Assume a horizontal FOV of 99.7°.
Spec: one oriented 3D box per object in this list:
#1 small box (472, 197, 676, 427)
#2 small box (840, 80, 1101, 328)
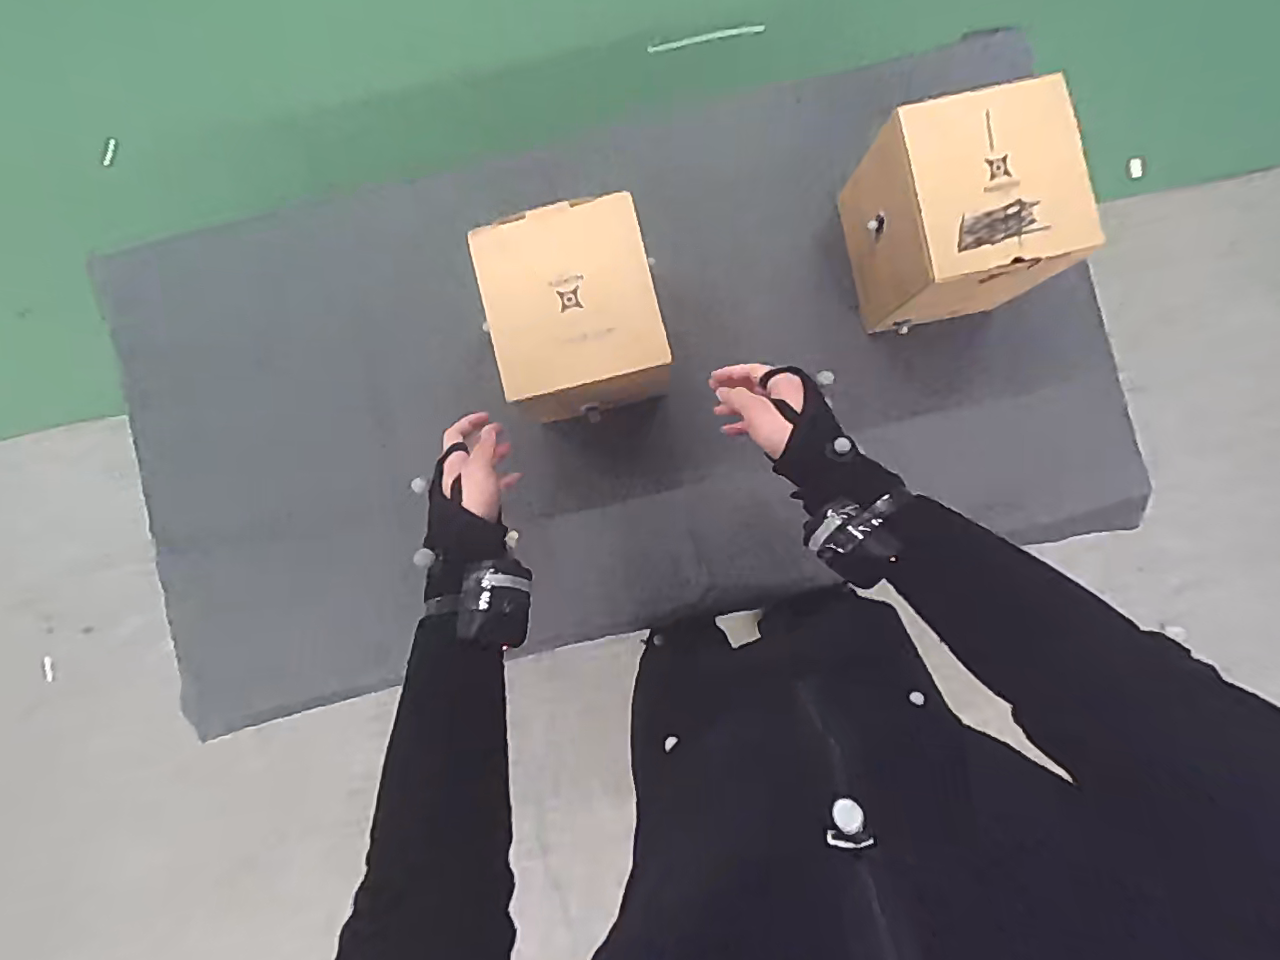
[{"bbox_3d":[-0.063,-0.168,0.597,0.168,0.176,0.179,-15,89,1],"label":"small box"},{"bbox_3d":[0.342,-0.280,0.595,0.168,0.176,0.179,-12,88,0],"label":"small box"}]
